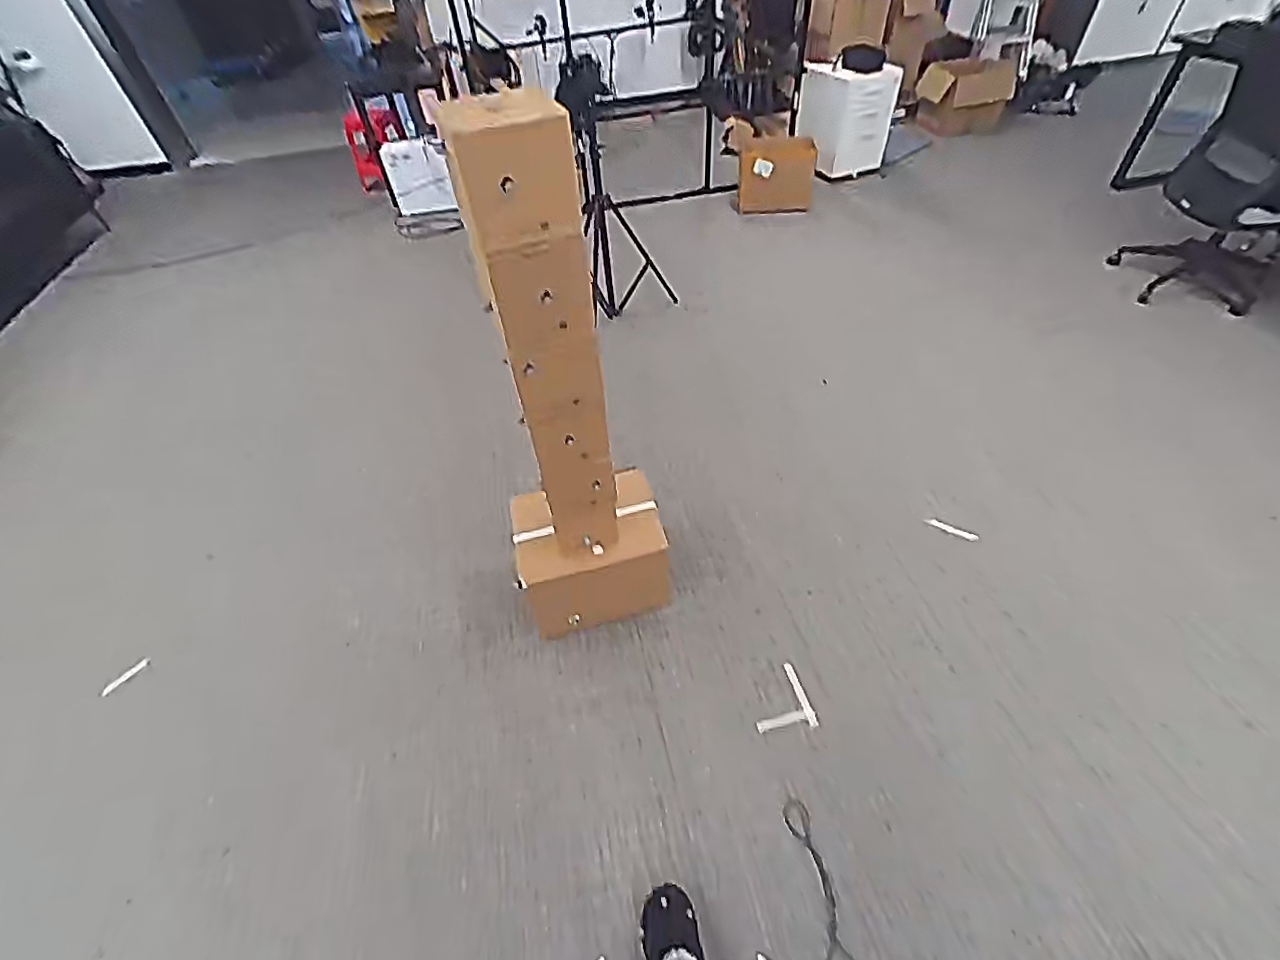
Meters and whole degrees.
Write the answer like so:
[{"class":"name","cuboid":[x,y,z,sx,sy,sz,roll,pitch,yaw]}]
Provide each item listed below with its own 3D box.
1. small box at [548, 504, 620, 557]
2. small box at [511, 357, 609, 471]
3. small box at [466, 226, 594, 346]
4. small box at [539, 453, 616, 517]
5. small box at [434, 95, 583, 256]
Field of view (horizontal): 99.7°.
[{"class":"small box","cuboid":[-0.156,0.076,1.448,0.168,0.176,0.179,-14,49,-7]},{"class":"small box","cuboid":[-0.174,-0.140,1.204,0.168,0.176,0.179,-17,50,-12]},{"class":"small box","cuboid":[-0.189,-0.356,0.958,0.168,0.176,0.179,-20,51,-14]},{"class":"small box","cuboid":[-0.160,-0.029,1.325,0.168,0.176,0.179,-14,48,-9]},{"class":"small box","cuboid":[-0.198,-0.467,0.839,0.168,0.176,0.179,-20,49,-14]}]
